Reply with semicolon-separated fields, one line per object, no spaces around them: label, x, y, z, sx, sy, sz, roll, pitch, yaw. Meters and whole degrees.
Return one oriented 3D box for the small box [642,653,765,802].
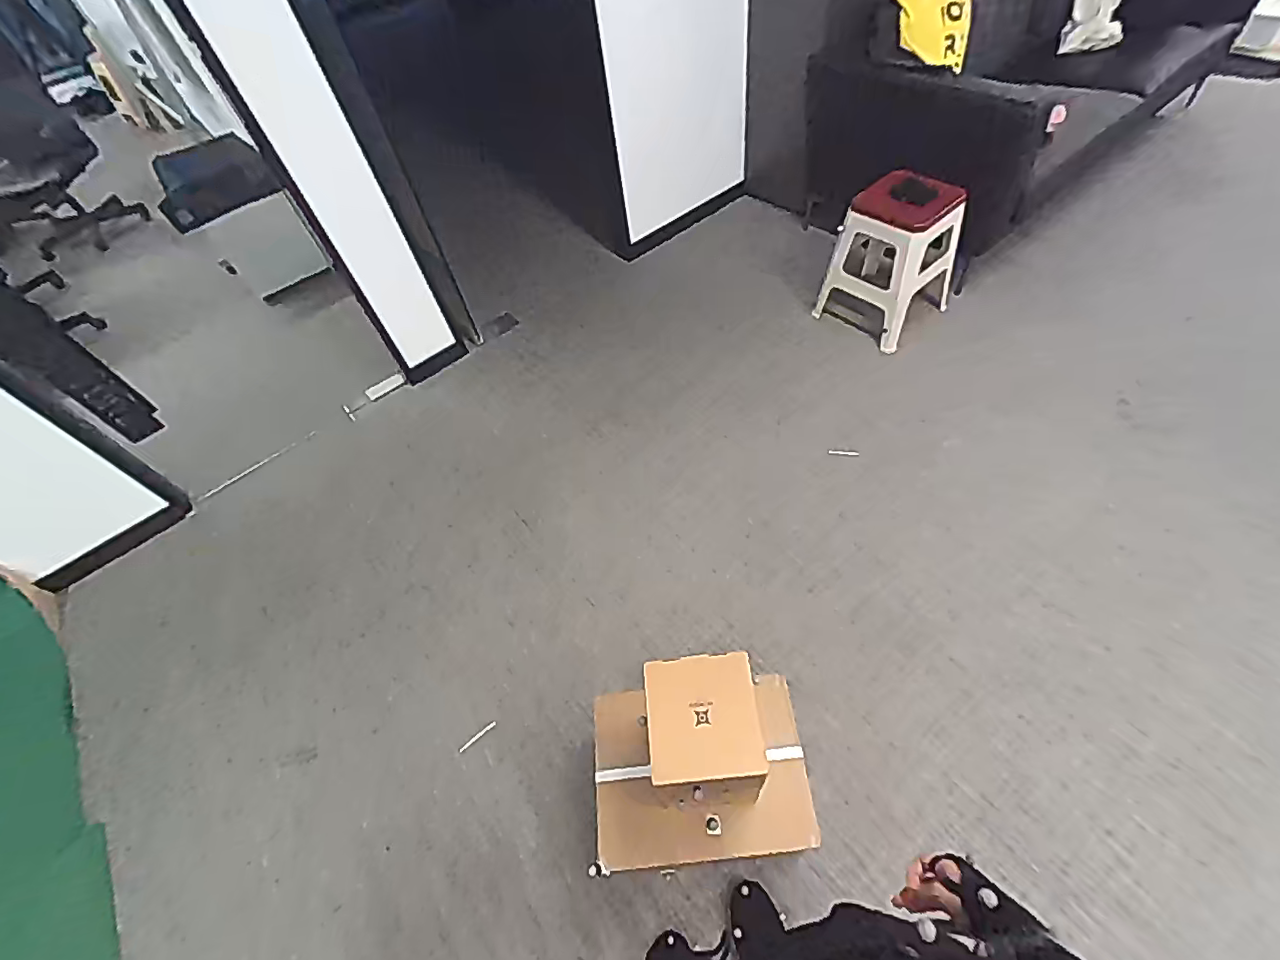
small box;0.099;0.395;0.853;0.168;0.176;0.179;-8;50;3
